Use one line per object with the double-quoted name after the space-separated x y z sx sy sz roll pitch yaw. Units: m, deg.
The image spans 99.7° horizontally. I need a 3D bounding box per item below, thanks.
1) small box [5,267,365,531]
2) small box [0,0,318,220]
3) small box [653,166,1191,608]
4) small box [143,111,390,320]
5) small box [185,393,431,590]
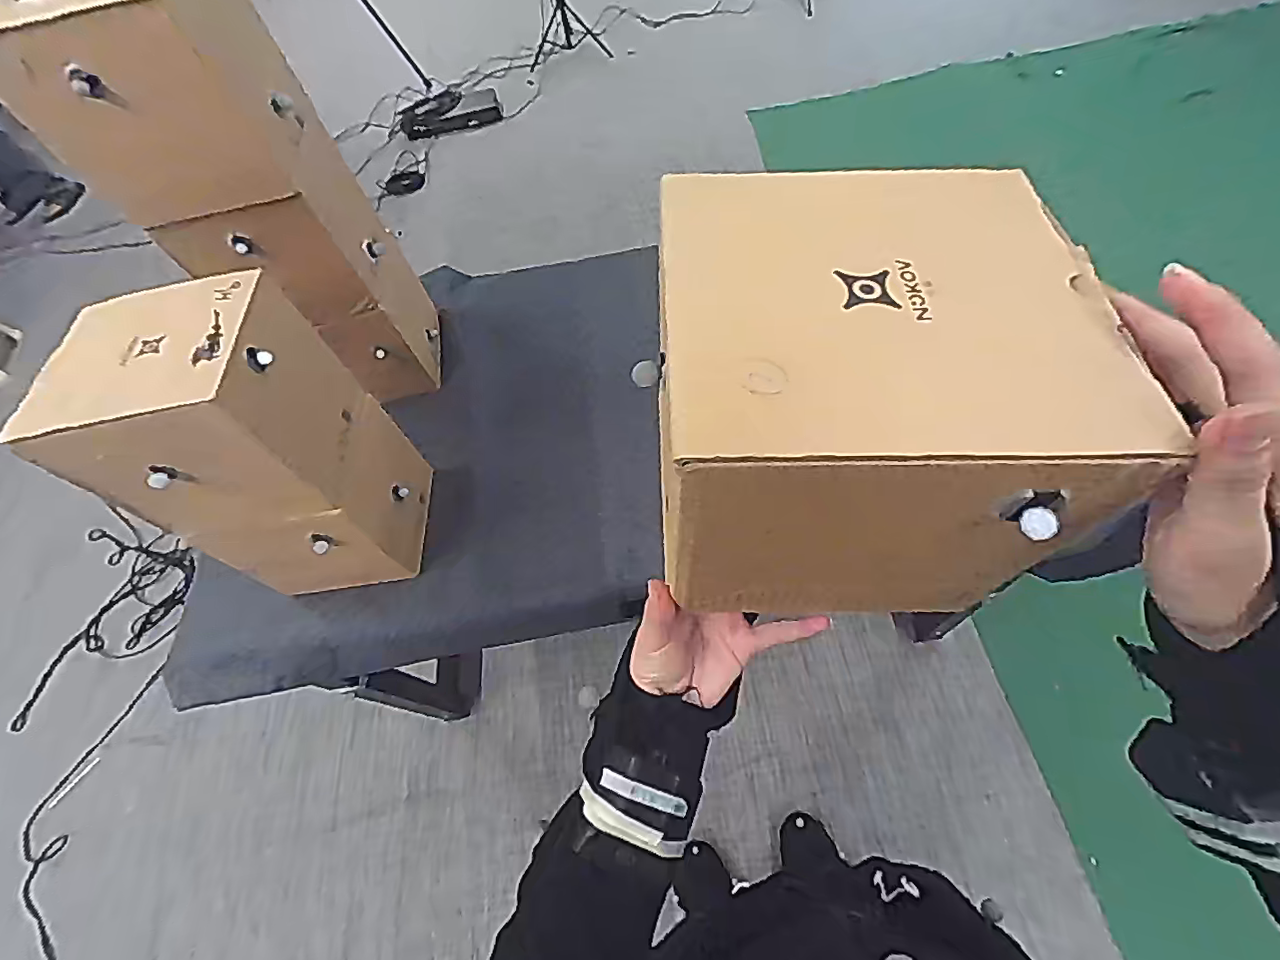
-0.402 -0.067 0.520 0.179 0.176 0.168 -12 57 2 "small box"
-0.455 -0.382 0.523 0.179 0.176 0.168 -11 62 1 "small box"
0.097 -0.036 0.287 0.179 0.176 0.168 -1 59 0 "small box"
-0.440 -0.310 0.670 0.179 0.176 0.168 -13 62 0 "small box"
-0.376 0.021 0.655 0.179 0.176 0.168 -9 57 4 "small box"
